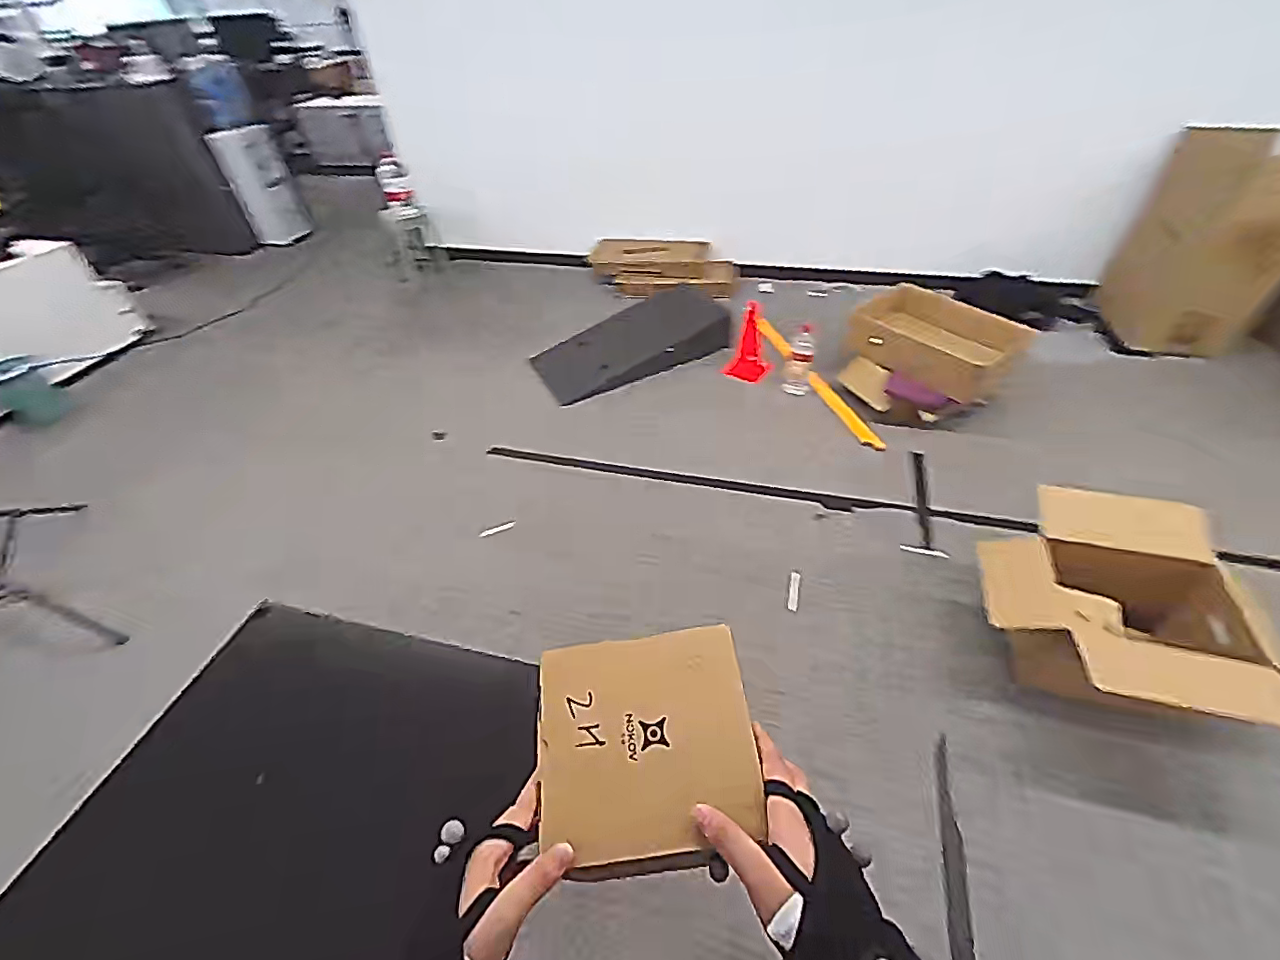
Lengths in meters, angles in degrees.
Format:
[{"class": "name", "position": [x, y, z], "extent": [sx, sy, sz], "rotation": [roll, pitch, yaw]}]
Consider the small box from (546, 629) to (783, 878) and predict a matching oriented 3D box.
[{"class": "small box", "position": [0.020, 0.256, 0.499], "extent": [0.179, 0.176, 0.168], "rotation": [-9, 51, 3]}]
